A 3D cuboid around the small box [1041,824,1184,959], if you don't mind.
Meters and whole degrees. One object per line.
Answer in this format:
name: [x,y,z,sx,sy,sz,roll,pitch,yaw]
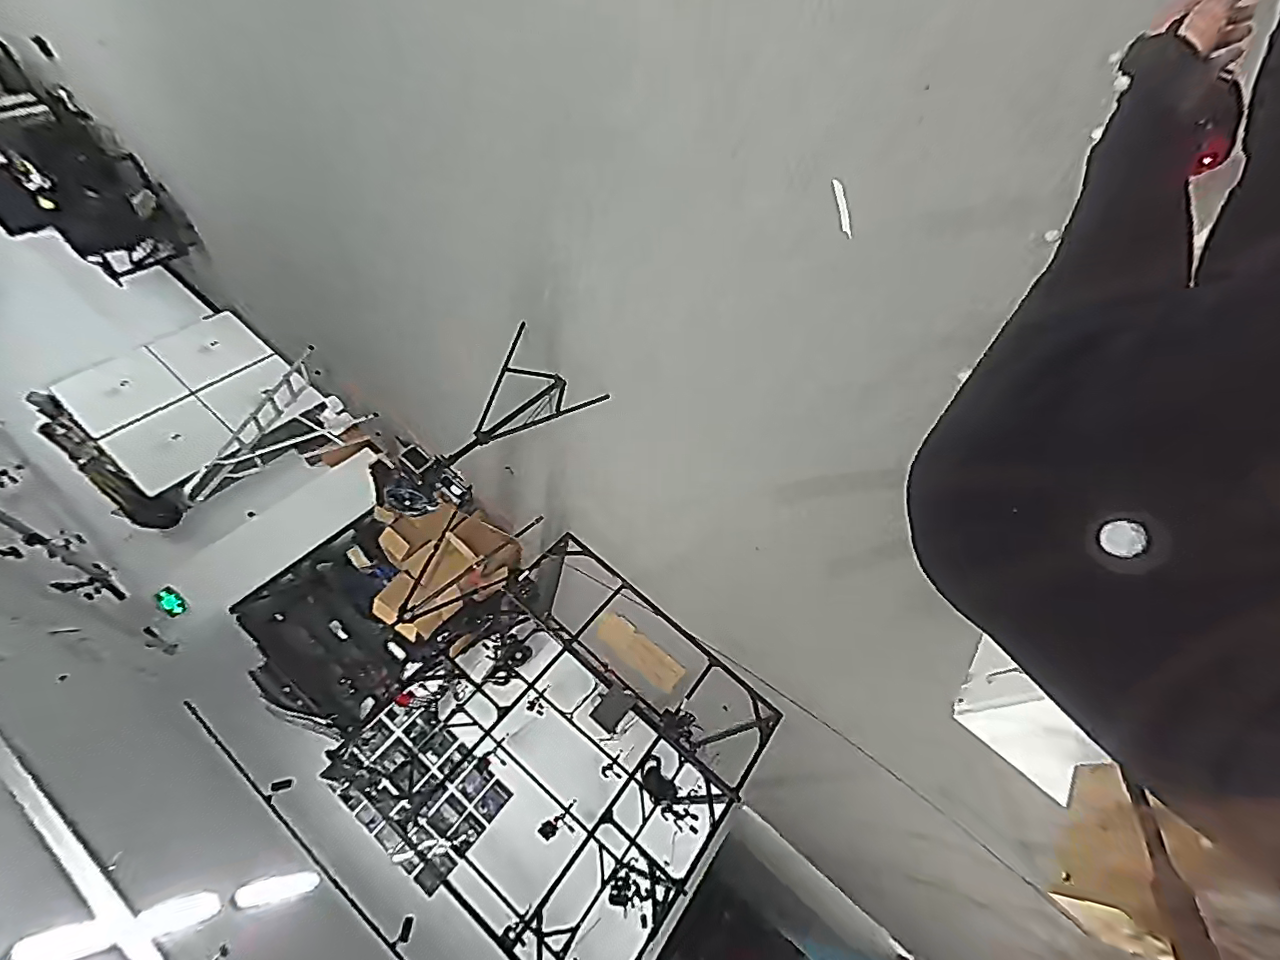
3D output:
small box: [1.065,0.913,1.218,0.168,0.176,0.179,40,149,7]
